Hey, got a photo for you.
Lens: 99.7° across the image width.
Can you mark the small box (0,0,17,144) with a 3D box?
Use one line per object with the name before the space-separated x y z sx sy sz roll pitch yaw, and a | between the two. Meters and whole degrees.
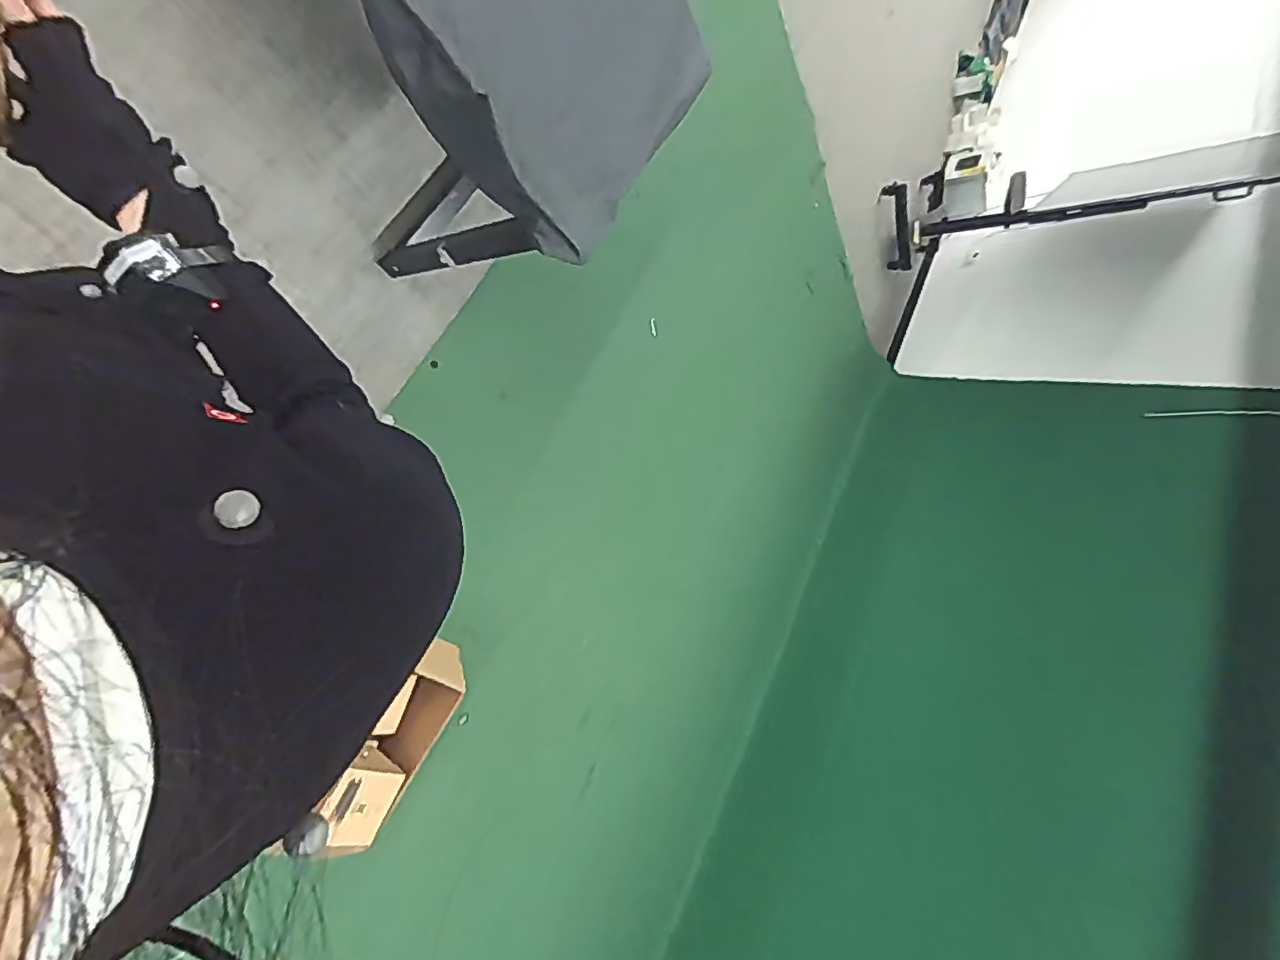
small box | -0.476 -0.329 0.295 0.168 0.176 0.179 -6 97 -46
